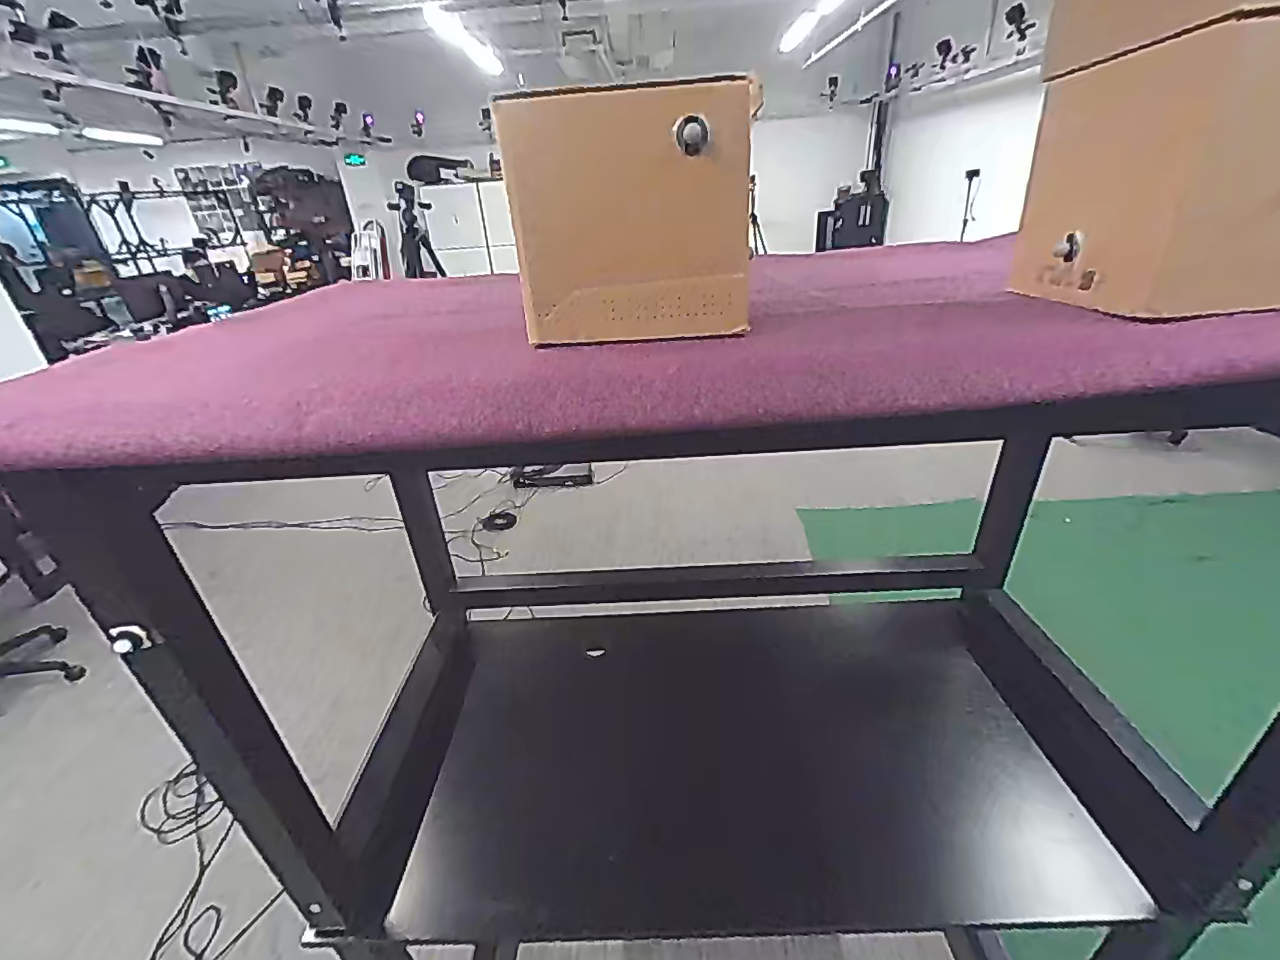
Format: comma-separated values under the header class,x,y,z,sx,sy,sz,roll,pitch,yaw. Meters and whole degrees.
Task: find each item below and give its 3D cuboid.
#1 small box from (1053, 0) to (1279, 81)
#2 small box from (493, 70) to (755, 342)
class,x,y,z,sx,sy,sz,roll,pitch,yaw
small box,0.403,-0.369,0.327,0.168,0.176,0.179,-3,26,4
small box,-0.003,-0.217,0.455,0.179,0.176,0.168,-2,27,3
